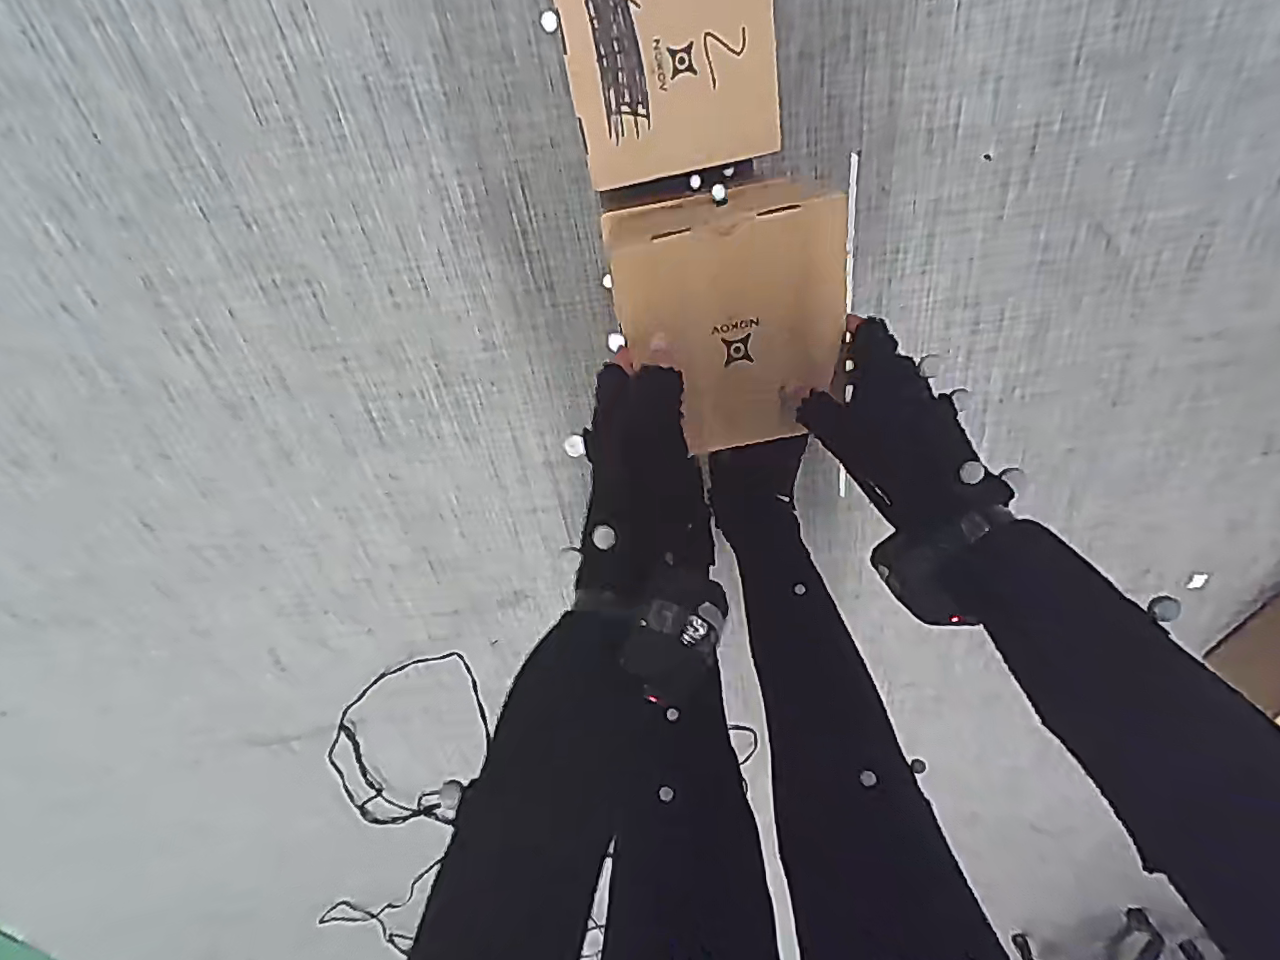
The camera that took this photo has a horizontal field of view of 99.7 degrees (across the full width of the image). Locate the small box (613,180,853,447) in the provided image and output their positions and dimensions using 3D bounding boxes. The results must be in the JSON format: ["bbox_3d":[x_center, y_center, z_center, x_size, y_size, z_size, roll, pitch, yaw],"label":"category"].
[{"bbox_3d":[0.075,-0.152,0.478,0.168,0.176,0.179,-8,120,5],"label":"small box"}]
